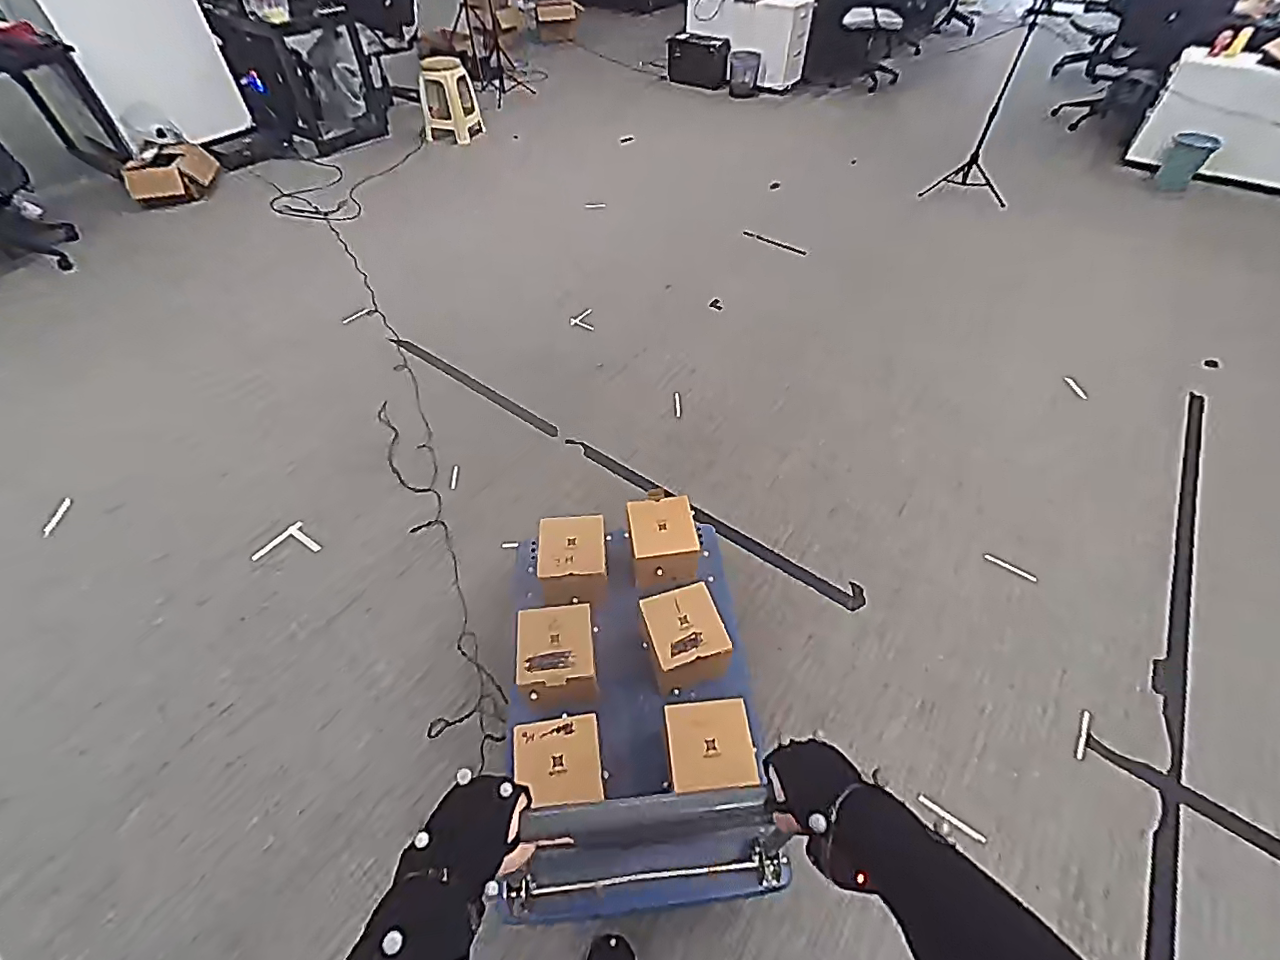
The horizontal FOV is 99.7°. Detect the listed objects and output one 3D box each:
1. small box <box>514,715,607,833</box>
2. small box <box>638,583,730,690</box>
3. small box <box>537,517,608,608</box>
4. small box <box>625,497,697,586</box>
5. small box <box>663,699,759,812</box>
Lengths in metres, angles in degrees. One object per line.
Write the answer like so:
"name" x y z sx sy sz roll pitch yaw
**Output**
"small box" -0.158 0.601 1.096 0.168 0.176 0.179 -6 51 -7
"small box" 0.099 0.378 1.281 0.168 0.176 0.179 -14 51 -11
"small box" -0.172 0.217 1.414 0.168 0.176 0.179 -3 51 -2
"small box" 0.055 0.171 1.454 0.168 0.176 0.179 -7 51 -5
"small box" 0.138 0.575 1.120 0.168 0.176 0.179 -4 50 -4
